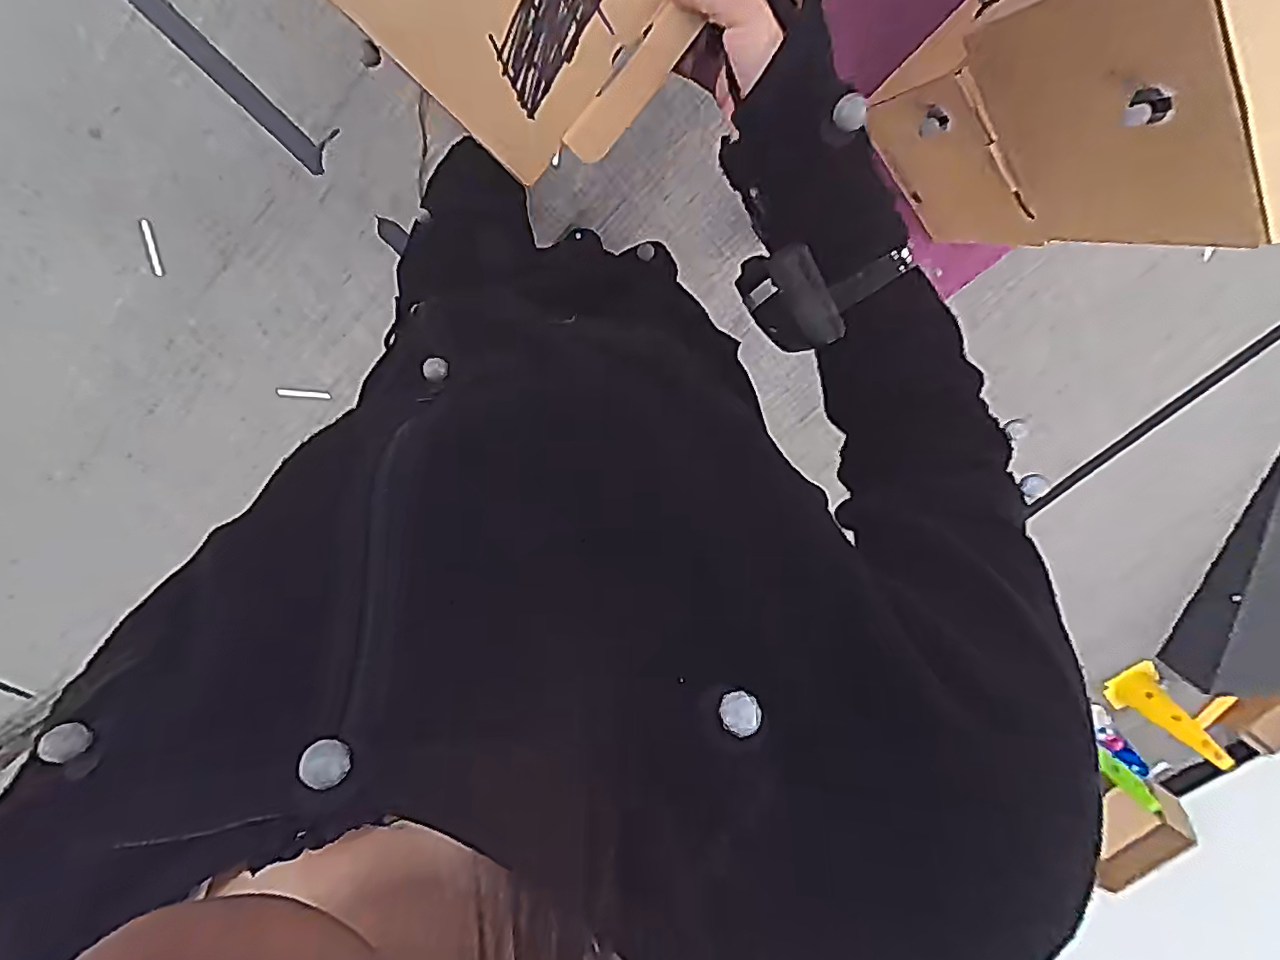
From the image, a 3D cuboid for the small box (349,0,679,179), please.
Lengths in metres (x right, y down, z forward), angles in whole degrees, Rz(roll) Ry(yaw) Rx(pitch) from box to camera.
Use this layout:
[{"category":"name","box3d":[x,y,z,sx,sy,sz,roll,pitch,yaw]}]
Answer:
[{"category":"small box","box3d":[-0.085,-0.306,0.288,0.168,0.176,0.179,-46,130,15]}]

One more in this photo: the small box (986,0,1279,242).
[{"category":"small box","box3d":[0.355,-0.268,0.323,0.168,0.176,0.179,-38,114,12]}]
